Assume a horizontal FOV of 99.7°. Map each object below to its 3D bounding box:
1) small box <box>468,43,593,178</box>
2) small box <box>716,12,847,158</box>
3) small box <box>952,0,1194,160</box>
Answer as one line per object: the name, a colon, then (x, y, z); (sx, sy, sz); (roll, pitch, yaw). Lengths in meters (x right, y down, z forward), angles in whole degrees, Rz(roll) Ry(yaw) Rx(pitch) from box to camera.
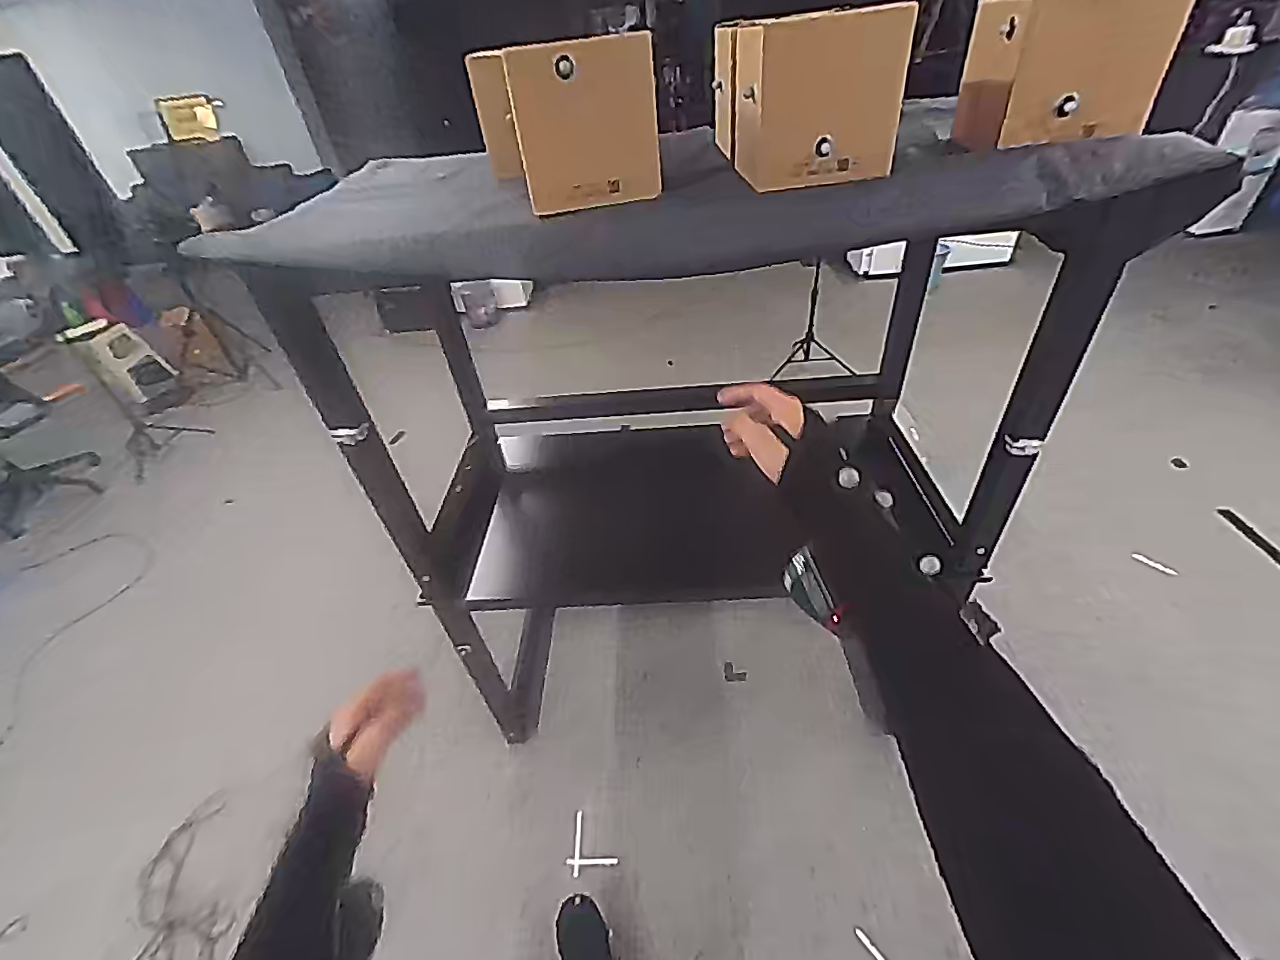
small box: (-0.174, -0.628, 0.921); (0.168, 0.176, 0.179); (-6, 41, 2)
small box: (0.215, -0.626, 0.864); (0.168, 0.176, 0.179); (-5, 39, 2)
small box: (0.534, -0.526, 0.699); (0.168, 0.176, 0.179); (-1, 40, 8)
